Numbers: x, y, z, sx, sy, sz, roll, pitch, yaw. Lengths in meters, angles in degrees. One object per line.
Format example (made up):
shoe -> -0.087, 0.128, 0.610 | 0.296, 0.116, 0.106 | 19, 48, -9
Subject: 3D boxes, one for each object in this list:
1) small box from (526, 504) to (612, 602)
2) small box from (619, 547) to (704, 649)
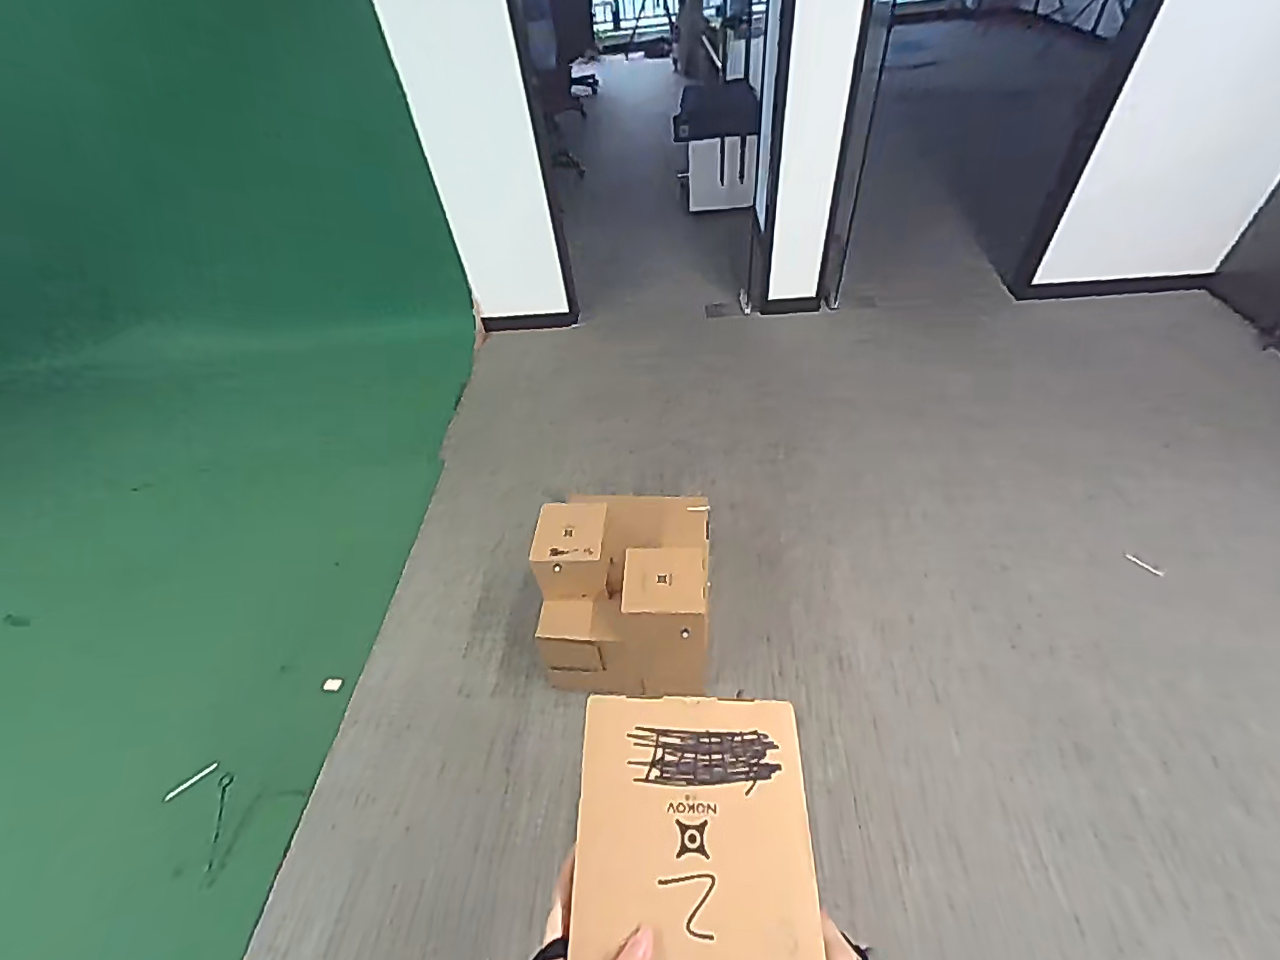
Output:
small box -> -0.164, 0.177, 1.322 | 0.168, 0.176, 0.179 | -1, 45, 6
small box -> 0.052, 0.265, 1.212 | 0.179, 0.176, 0.168 | -2, 46, 5
